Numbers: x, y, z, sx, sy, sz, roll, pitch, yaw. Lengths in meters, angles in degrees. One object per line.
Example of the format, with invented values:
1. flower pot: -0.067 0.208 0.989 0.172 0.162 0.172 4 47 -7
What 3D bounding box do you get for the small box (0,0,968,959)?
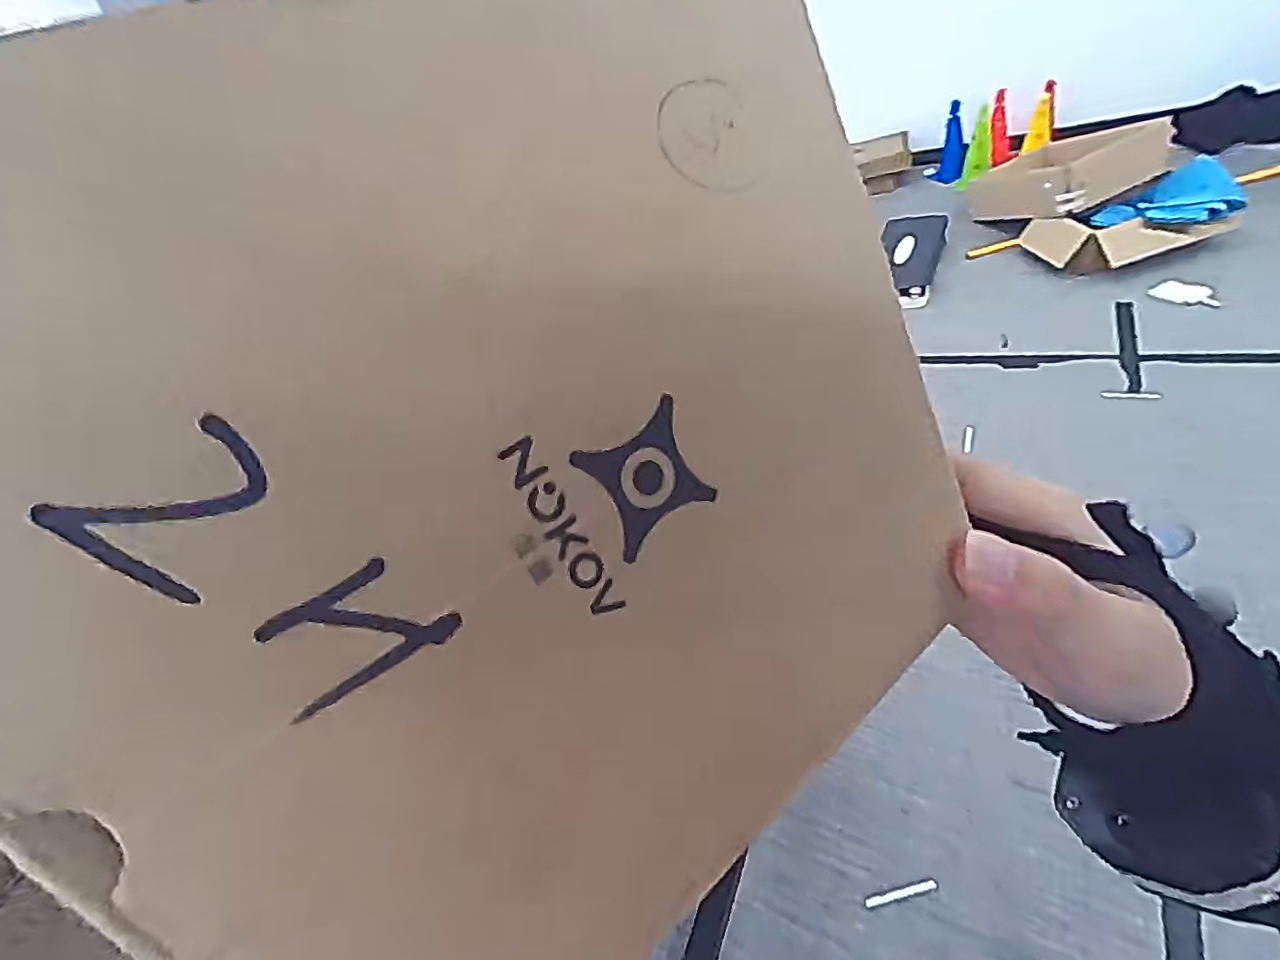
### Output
1. small box: -0.040 0.002 0.178 0.179 0.168 0.176 -33 17 -21
